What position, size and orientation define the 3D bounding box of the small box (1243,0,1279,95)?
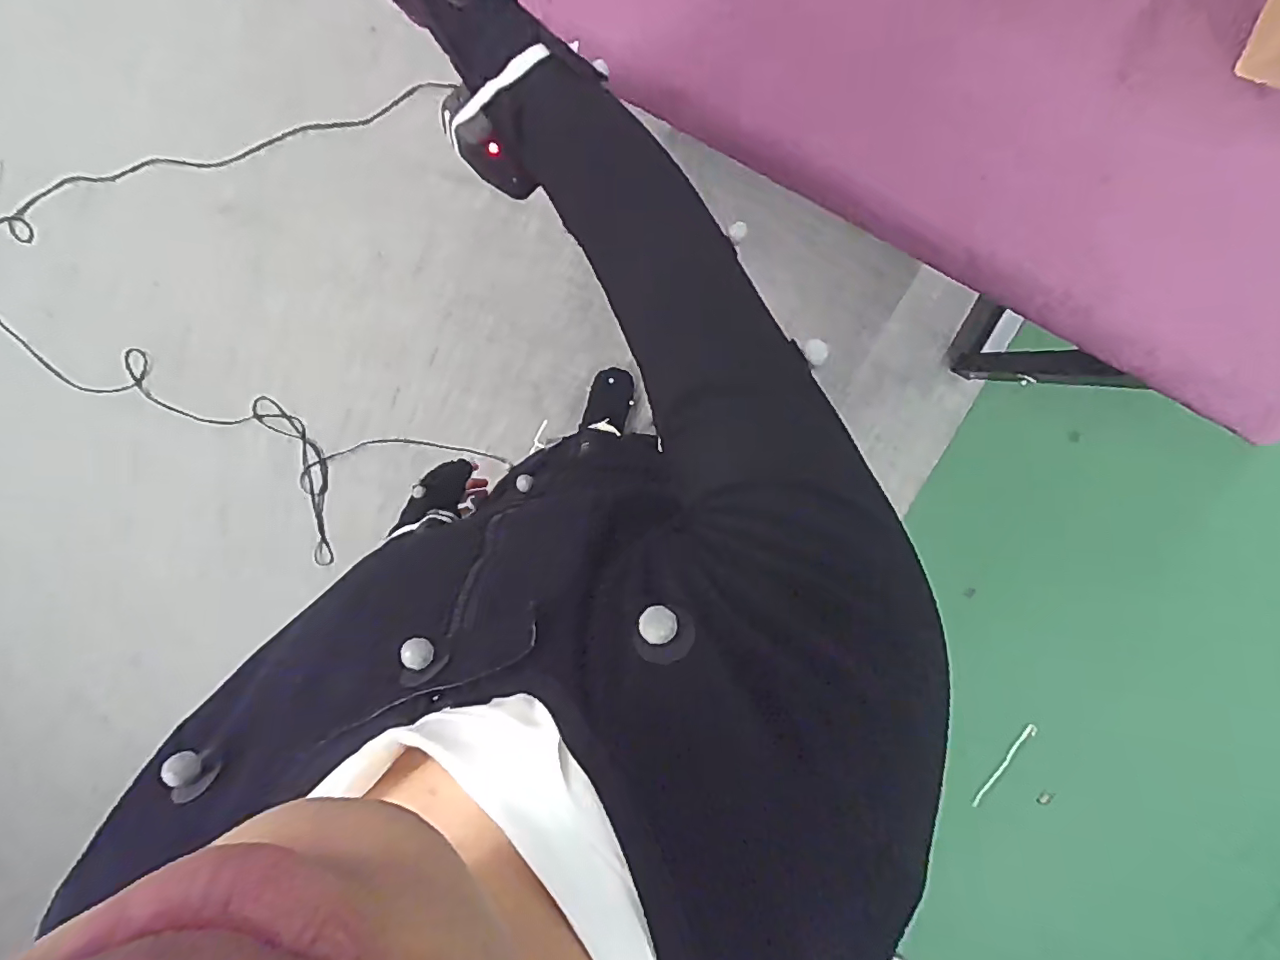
[{"bbox_3d":[0.764,-0.485,0.517,0.168,0.176,0.179,17,102,-1],"label":"small box"}]
